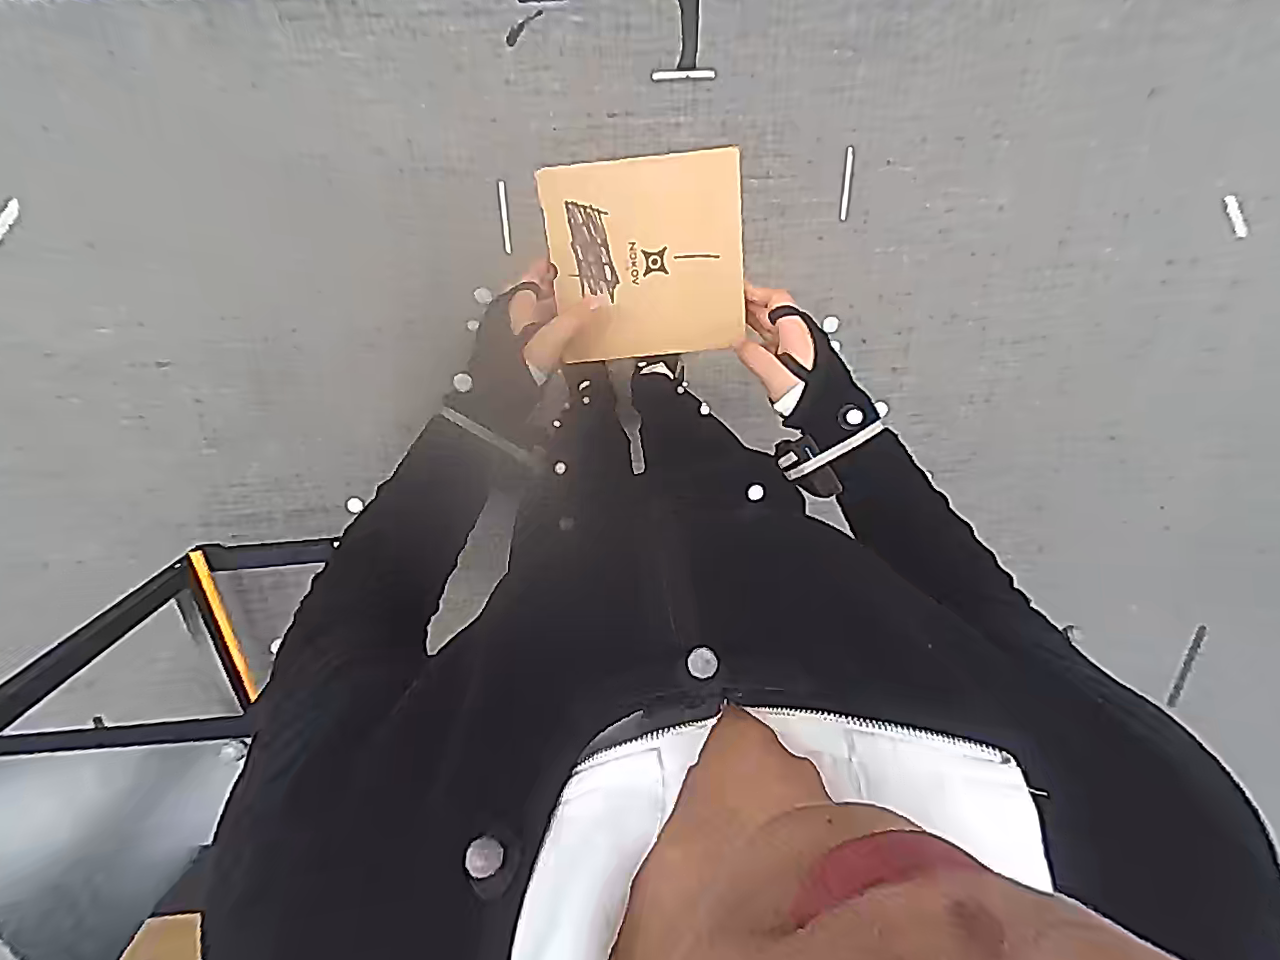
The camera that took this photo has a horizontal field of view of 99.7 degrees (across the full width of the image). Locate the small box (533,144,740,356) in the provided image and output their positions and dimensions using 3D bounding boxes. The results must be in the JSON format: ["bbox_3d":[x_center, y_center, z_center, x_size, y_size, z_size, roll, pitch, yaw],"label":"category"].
[{"bbox_3d":[0.002,-0.224,0.560,0.179,0.176,0.168,-5,108,2],"label":"small box"}]

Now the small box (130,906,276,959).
[{"bbox_3d":[-0.802,0.904,0.962,0.179,0.176,0.168,-5,114,-2],"label":"small box"}]
